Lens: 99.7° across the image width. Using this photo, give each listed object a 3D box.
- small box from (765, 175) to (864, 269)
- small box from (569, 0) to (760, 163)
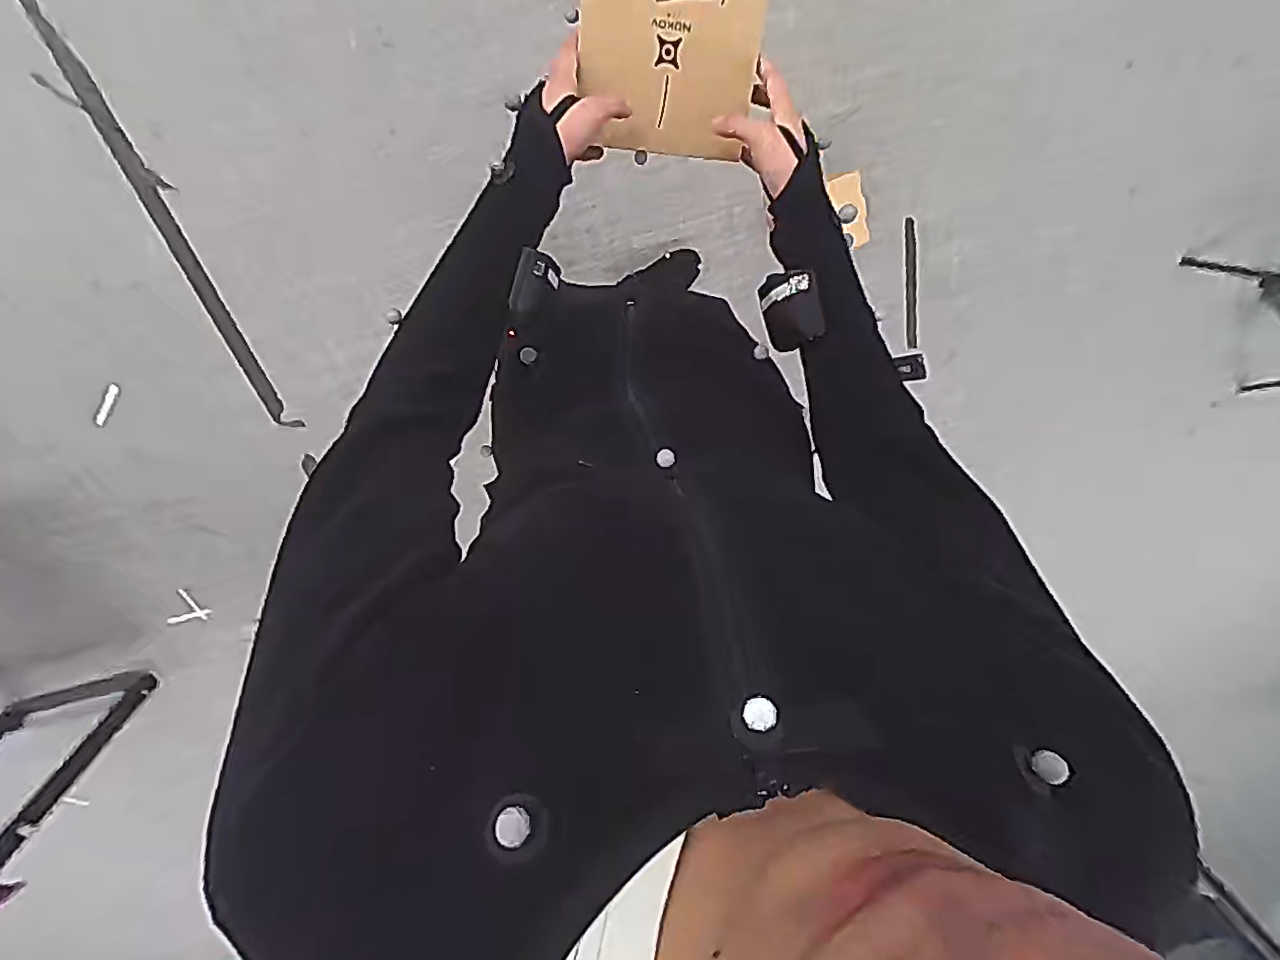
[{"bbox_3d":[0.437,-0.655,1.368,0.179,0.176,0.168,-20,118,4],"label":"small box"},{"bbox_3d":[0.013,-0.435,0.548,0.168,0.176,0.179,2,124,-7],"label":"small box"}]
